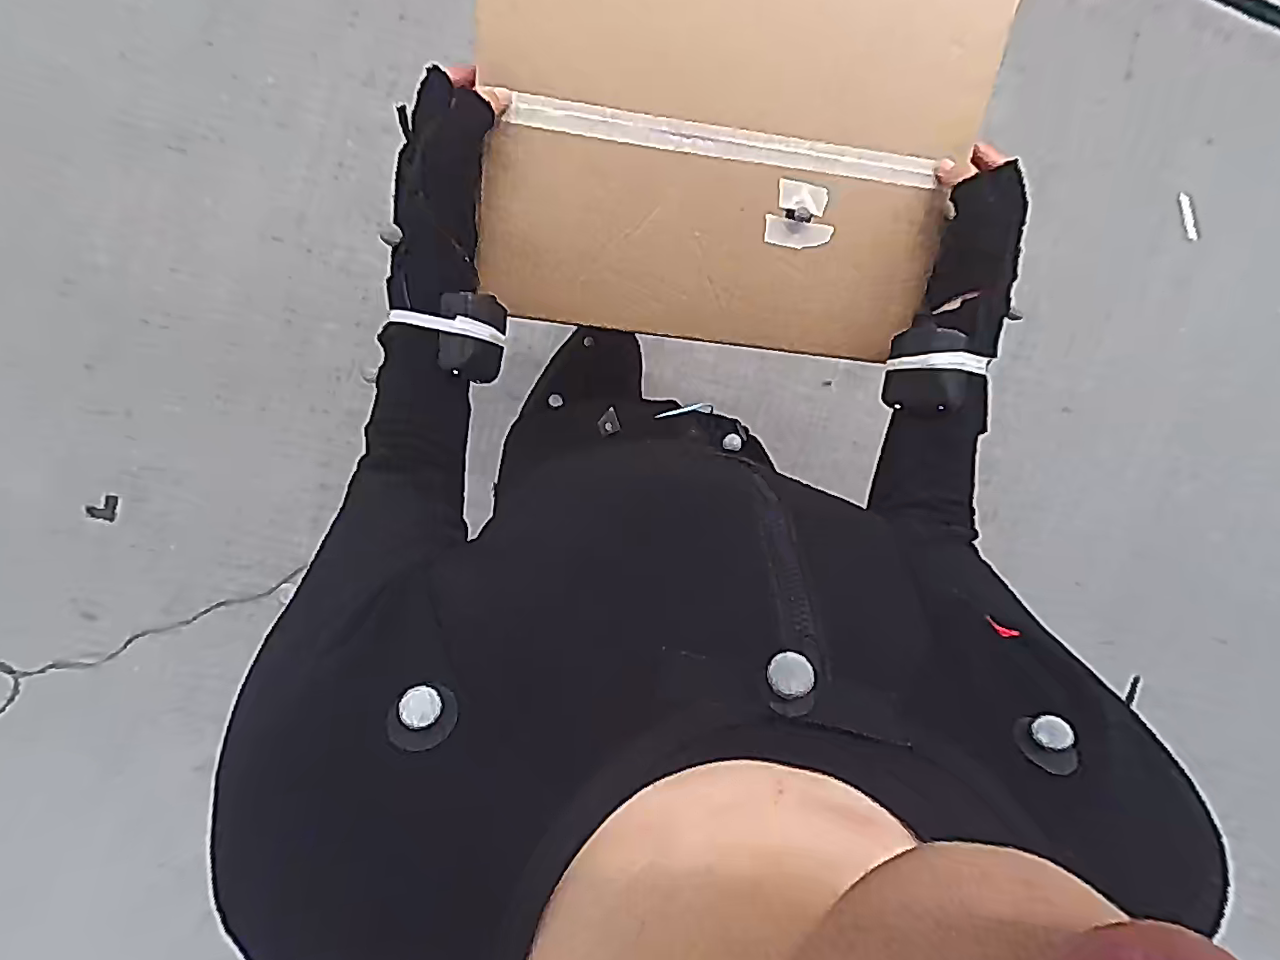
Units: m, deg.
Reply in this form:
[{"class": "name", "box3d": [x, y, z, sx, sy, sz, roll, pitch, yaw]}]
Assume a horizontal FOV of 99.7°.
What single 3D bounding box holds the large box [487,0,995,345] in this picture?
[{"class": "large box", "box3d": [0.061, -0.341, 0.590, 0.408, 0.320, 0.320, 5, 112, -7]}]
